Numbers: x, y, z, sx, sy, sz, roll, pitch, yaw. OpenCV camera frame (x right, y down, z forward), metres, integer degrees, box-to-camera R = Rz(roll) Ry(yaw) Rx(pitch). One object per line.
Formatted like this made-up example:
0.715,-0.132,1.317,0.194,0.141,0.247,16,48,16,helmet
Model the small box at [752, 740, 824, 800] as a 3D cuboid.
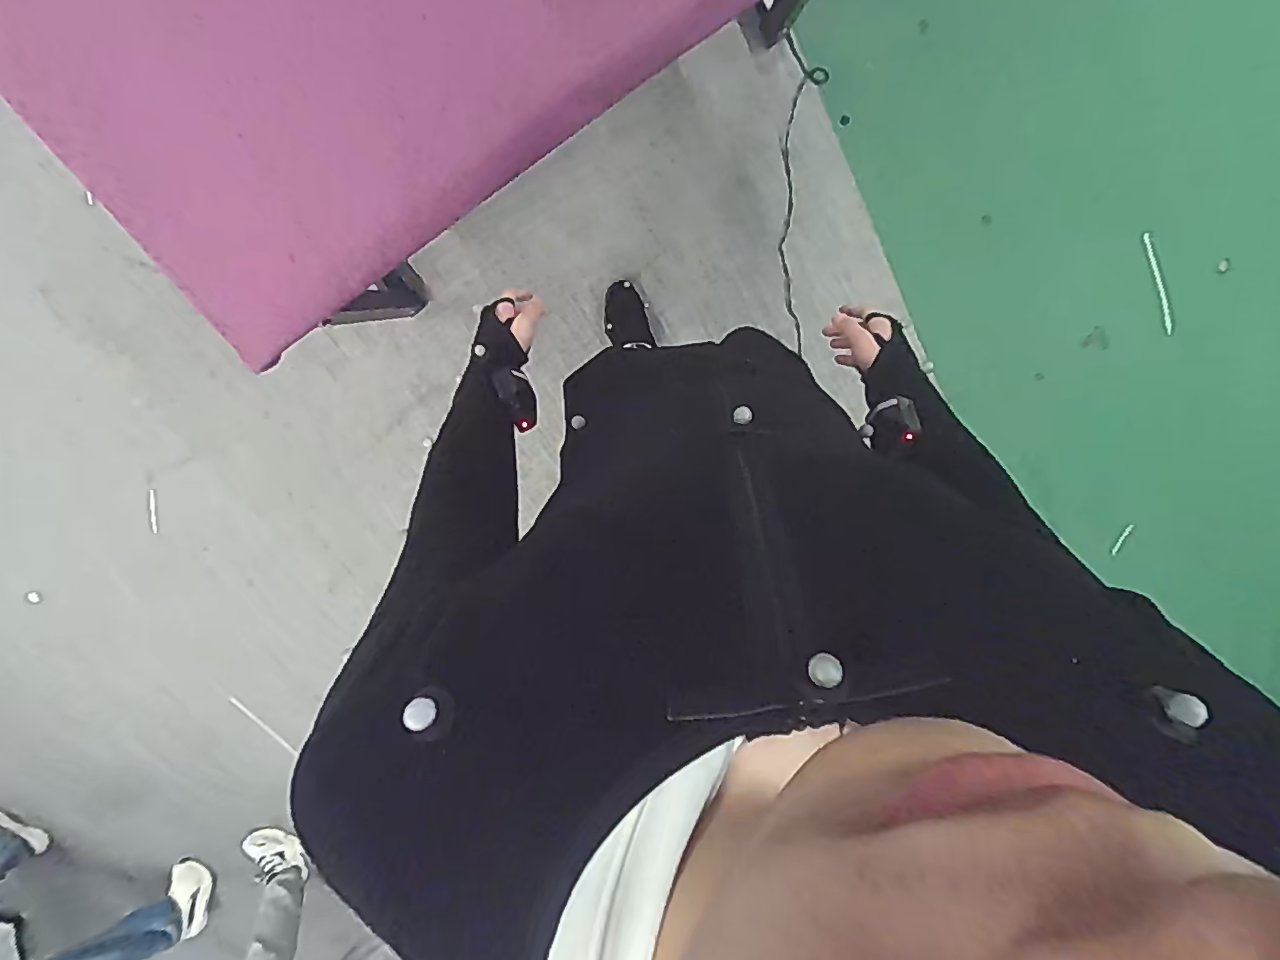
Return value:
0.535,1.093,1.971,0.179,0.176,0.168,-30,107,7,small box
